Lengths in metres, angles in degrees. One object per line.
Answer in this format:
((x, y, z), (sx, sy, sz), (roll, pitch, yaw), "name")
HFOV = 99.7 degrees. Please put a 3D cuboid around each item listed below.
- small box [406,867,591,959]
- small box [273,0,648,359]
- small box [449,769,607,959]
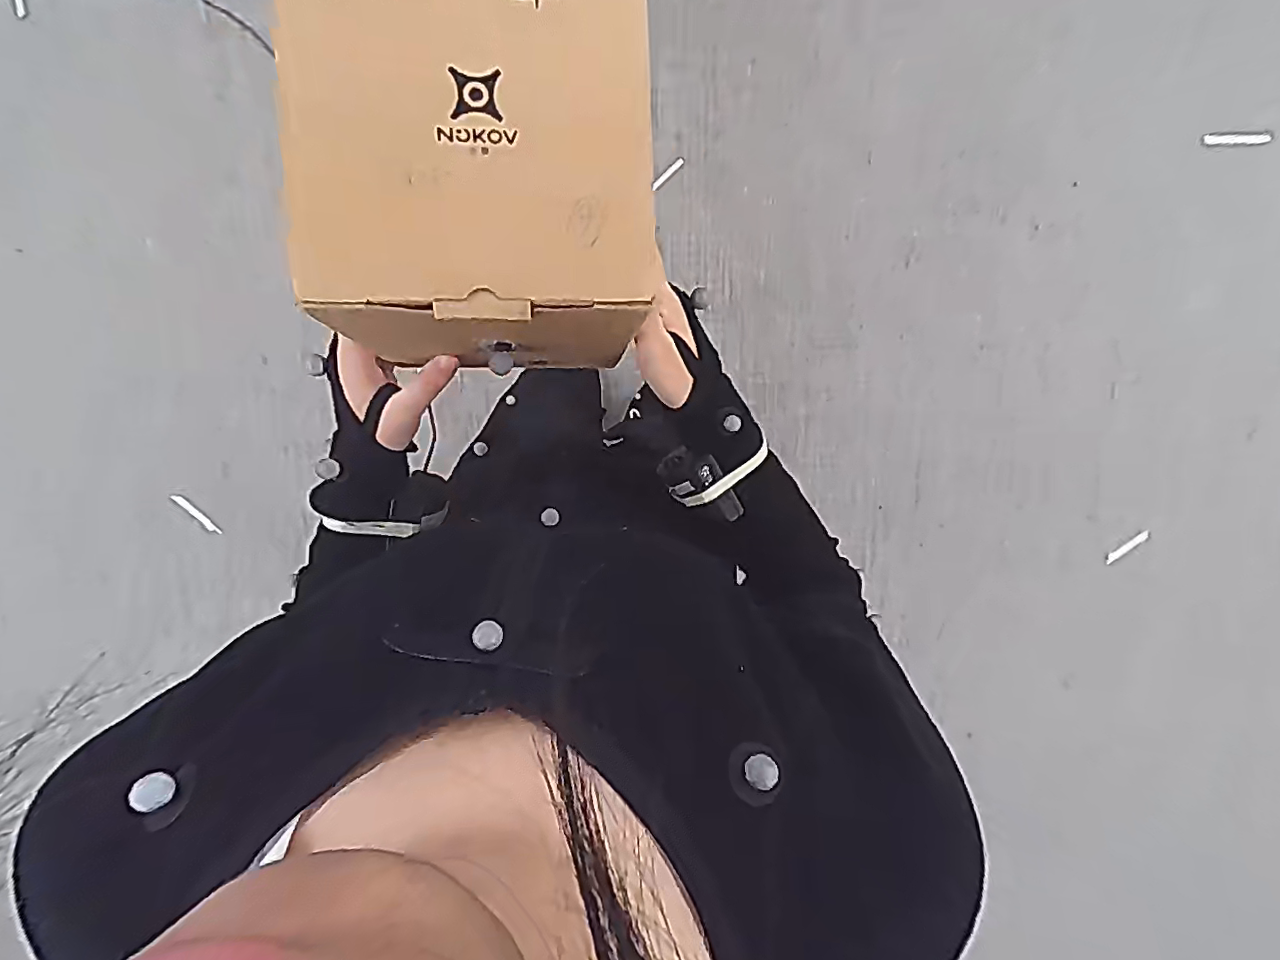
((-0.138, 0.529, 0.532), (0.168, 0.176, 0.179), (-1, 99, 1), "small box")
((-0.089, -0.172, 0.327), (0.168, 0.176, 0.179), (-2, 93, -9), "small box")
((-0.133, 0.502, 0.695), (0.168, 0.176, 0.179), (1, 101, 1), "small box")
